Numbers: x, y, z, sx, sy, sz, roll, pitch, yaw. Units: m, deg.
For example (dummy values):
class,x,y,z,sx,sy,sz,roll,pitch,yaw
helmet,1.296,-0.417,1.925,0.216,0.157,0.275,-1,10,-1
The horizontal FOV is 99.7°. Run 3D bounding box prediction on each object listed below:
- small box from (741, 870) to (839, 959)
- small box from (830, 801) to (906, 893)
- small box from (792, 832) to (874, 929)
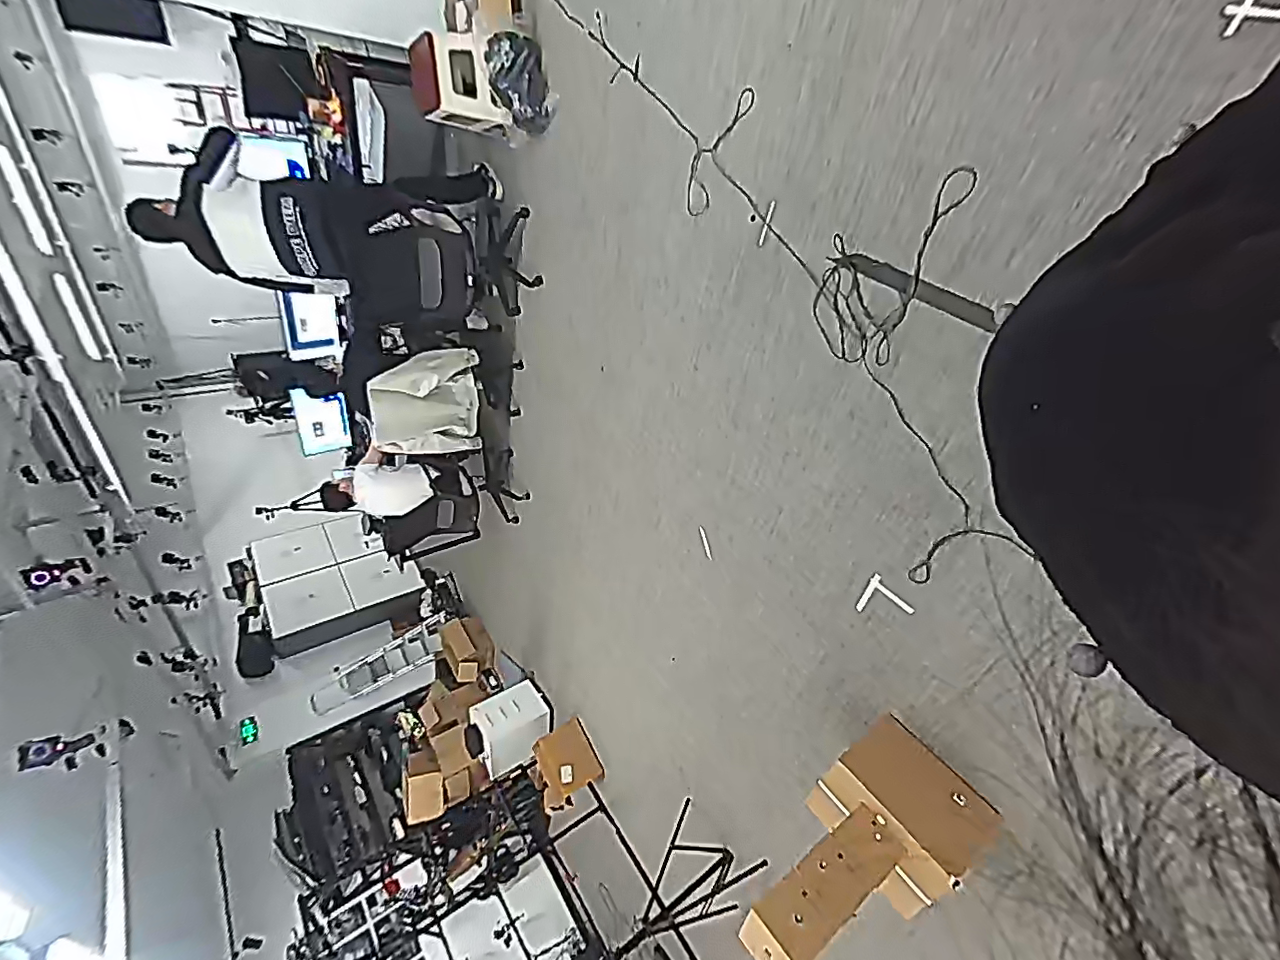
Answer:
class,x,y,z,sx,sy,sz,roll,pitch,yaw
small box,0.401,1.196,1.440,0.168,0.176,0.179,39,133,41
small box,0.660,1.118,1.624,0.168,0.176,0.179,42,135,37
small box,0.530,1.150,1.533,0.168,0.176,0.179,42,136,38
